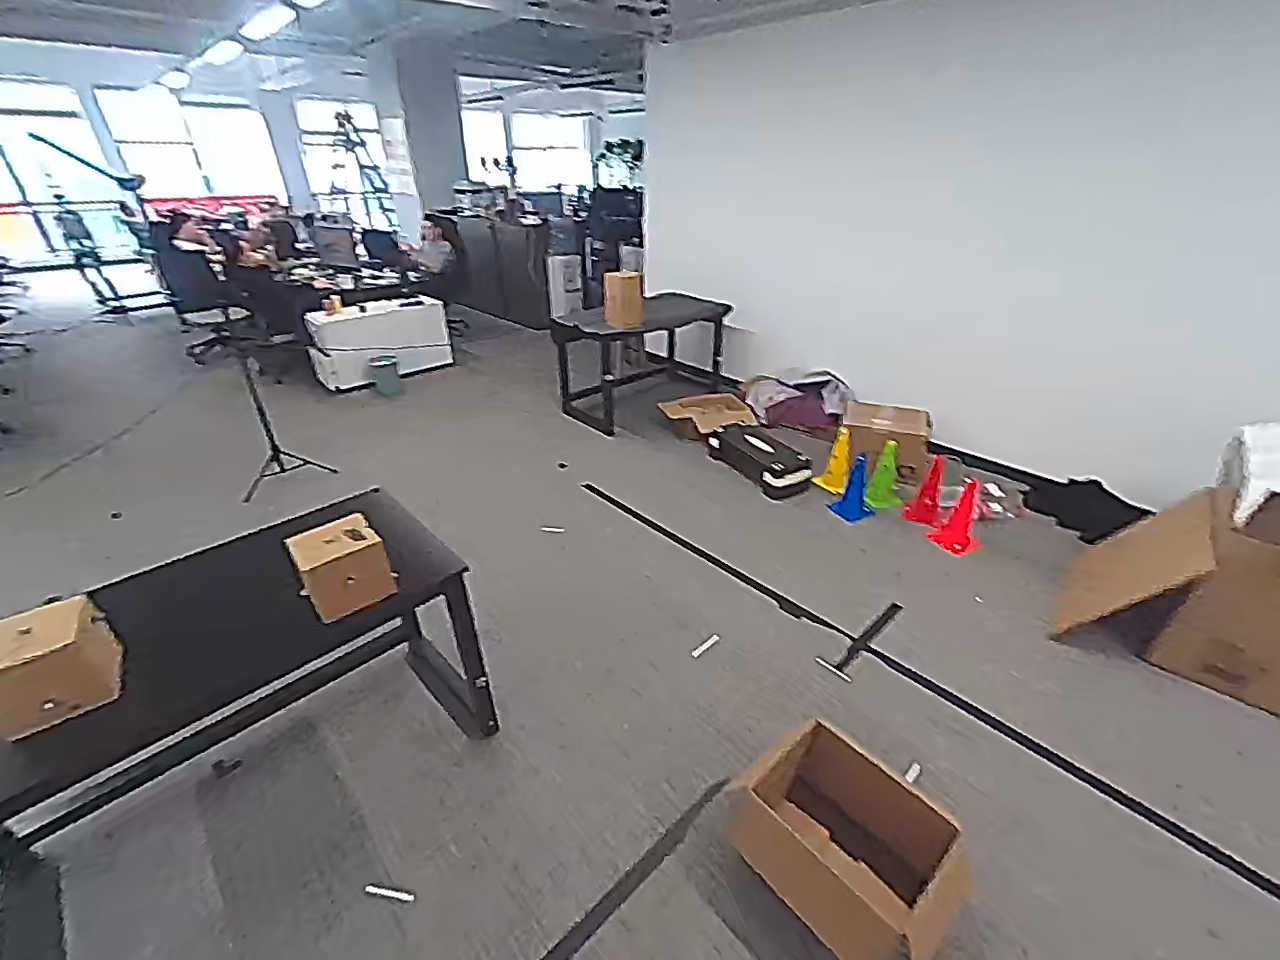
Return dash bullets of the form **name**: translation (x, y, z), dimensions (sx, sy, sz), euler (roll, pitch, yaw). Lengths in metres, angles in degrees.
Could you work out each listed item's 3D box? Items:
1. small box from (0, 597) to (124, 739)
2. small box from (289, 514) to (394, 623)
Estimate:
- **small box**: translation (-1.188, 0.376, 1.092), dimensions (0.168, 0.176, 0.179), euler (-22, 37, -31)
- **small box**: translation (-0.736, 0.218, 1.349), dimensions (0.179, 0.176, 0.168), euler (-26, 38, -34)
